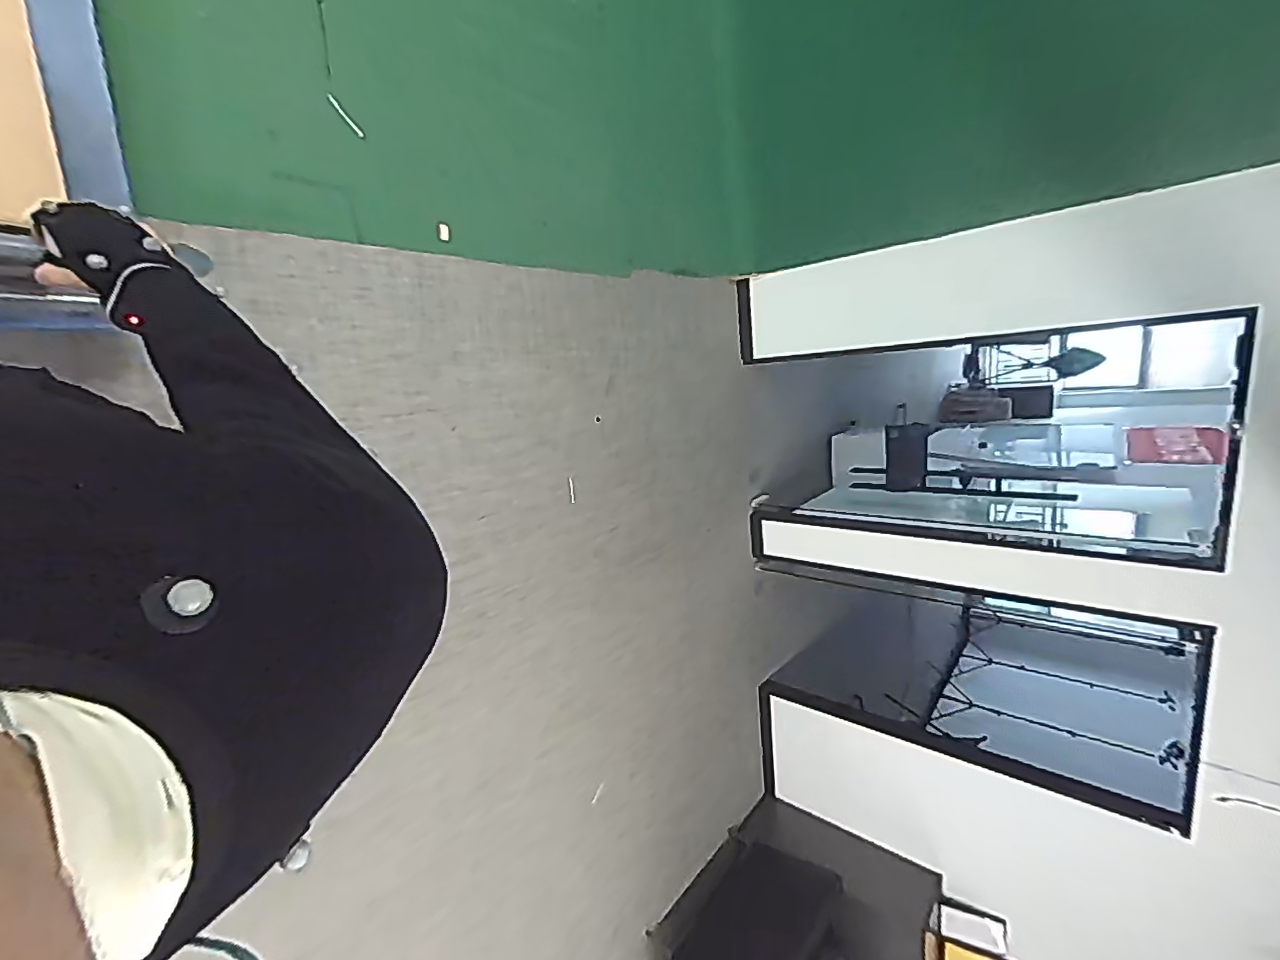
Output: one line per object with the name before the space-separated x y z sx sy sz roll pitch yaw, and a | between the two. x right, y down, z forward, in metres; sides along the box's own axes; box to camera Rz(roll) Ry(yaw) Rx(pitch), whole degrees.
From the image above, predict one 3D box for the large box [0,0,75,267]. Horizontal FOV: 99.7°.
large box | -1.088 -0.556 0.779 0.320 0.320 0.408 -14 104 -48
